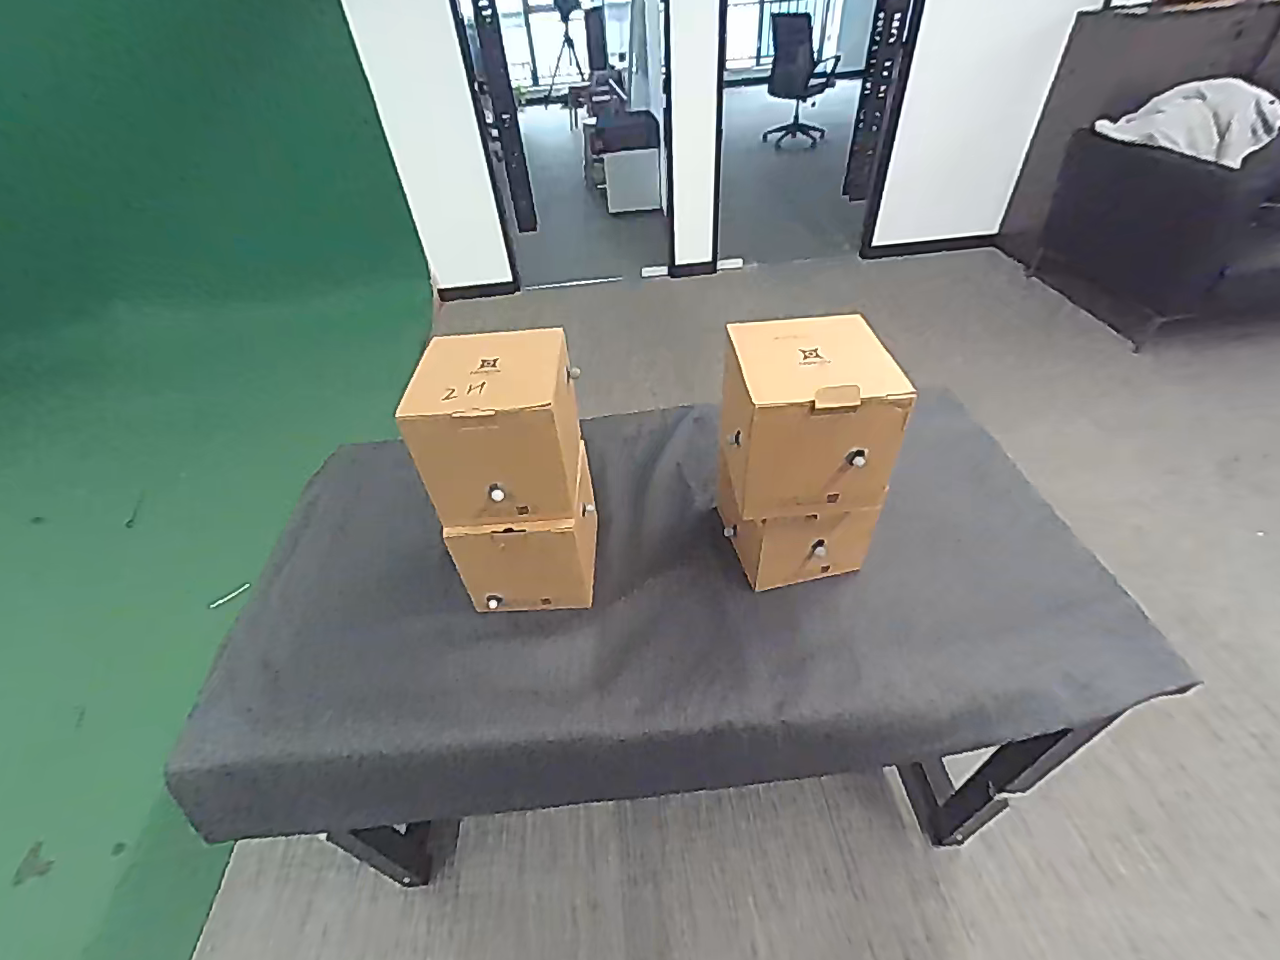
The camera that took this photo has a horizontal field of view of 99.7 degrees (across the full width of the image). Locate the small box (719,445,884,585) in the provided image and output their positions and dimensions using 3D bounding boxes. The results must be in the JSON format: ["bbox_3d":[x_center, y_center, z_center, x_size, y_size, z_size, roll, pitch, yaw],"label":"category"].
[{"bbox_3d":[0.217,0.034,0.780,0.168,0.176,0.179,-11,43,-6],"label":"small box"}]

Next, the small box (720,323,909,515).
[{"bbox_3d":[0.191,-0.069,0.653,0.168,0.176,0.179,-4,41,0],"label":"small box"}]

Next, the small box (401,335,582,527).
[{"bbox_3d":[-0.167,-0.062,0.676,0.168,0.176,0.179,-5,42,1],"label":"small box"}]

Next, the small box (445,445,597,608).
[{"bbox_3d":[-0.154,0.071,0.775,0.168,0.176,0.179,-3,41,2],"label":"small box"}]
